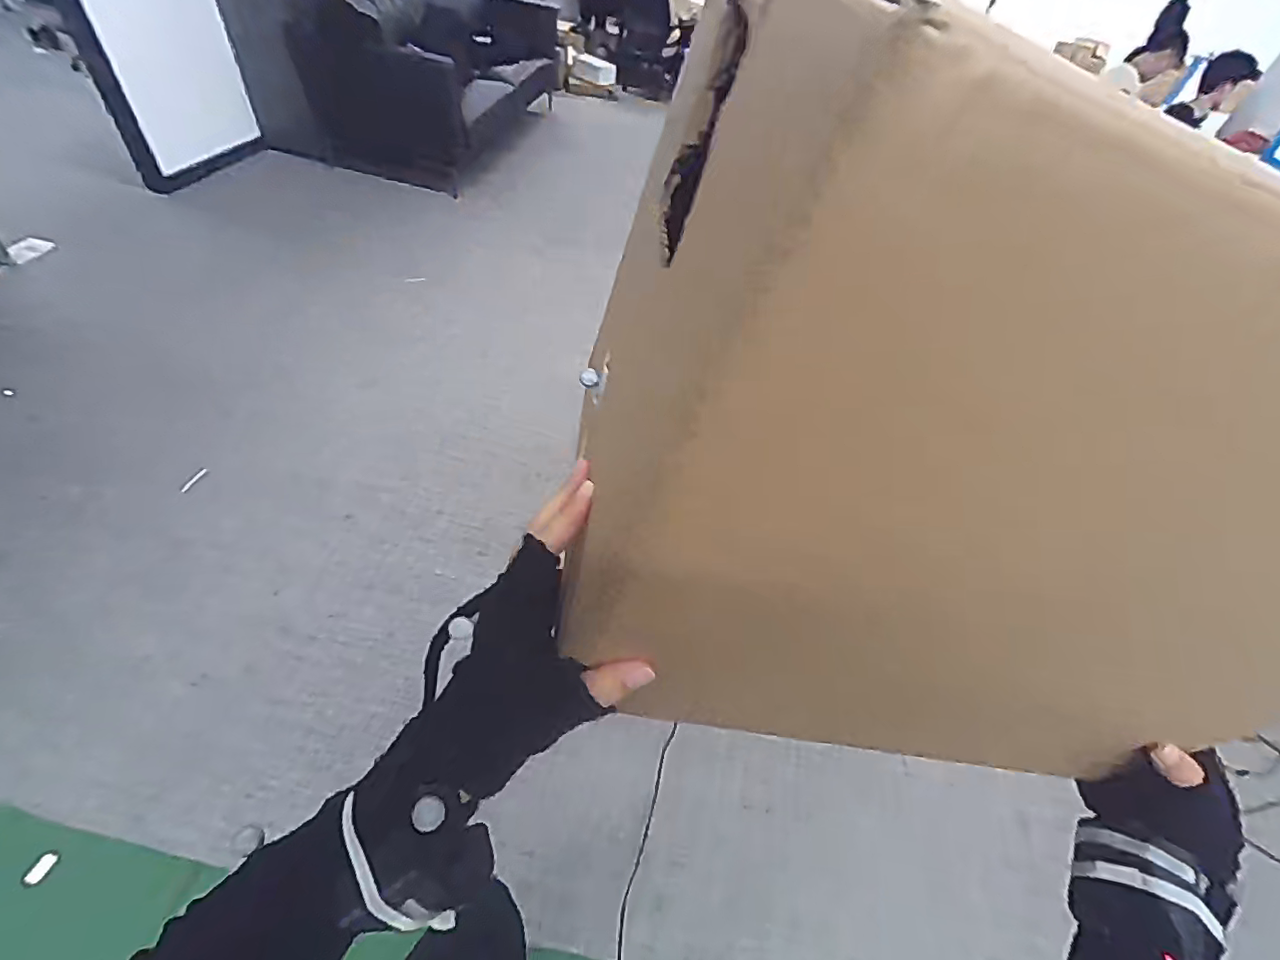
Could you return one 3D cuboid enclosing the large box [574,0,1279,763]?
[{"bbox_3d":[0.194,-0.038,0.352,0.408,0.320,0.320,14,46,-14],"label":"large box"}]
